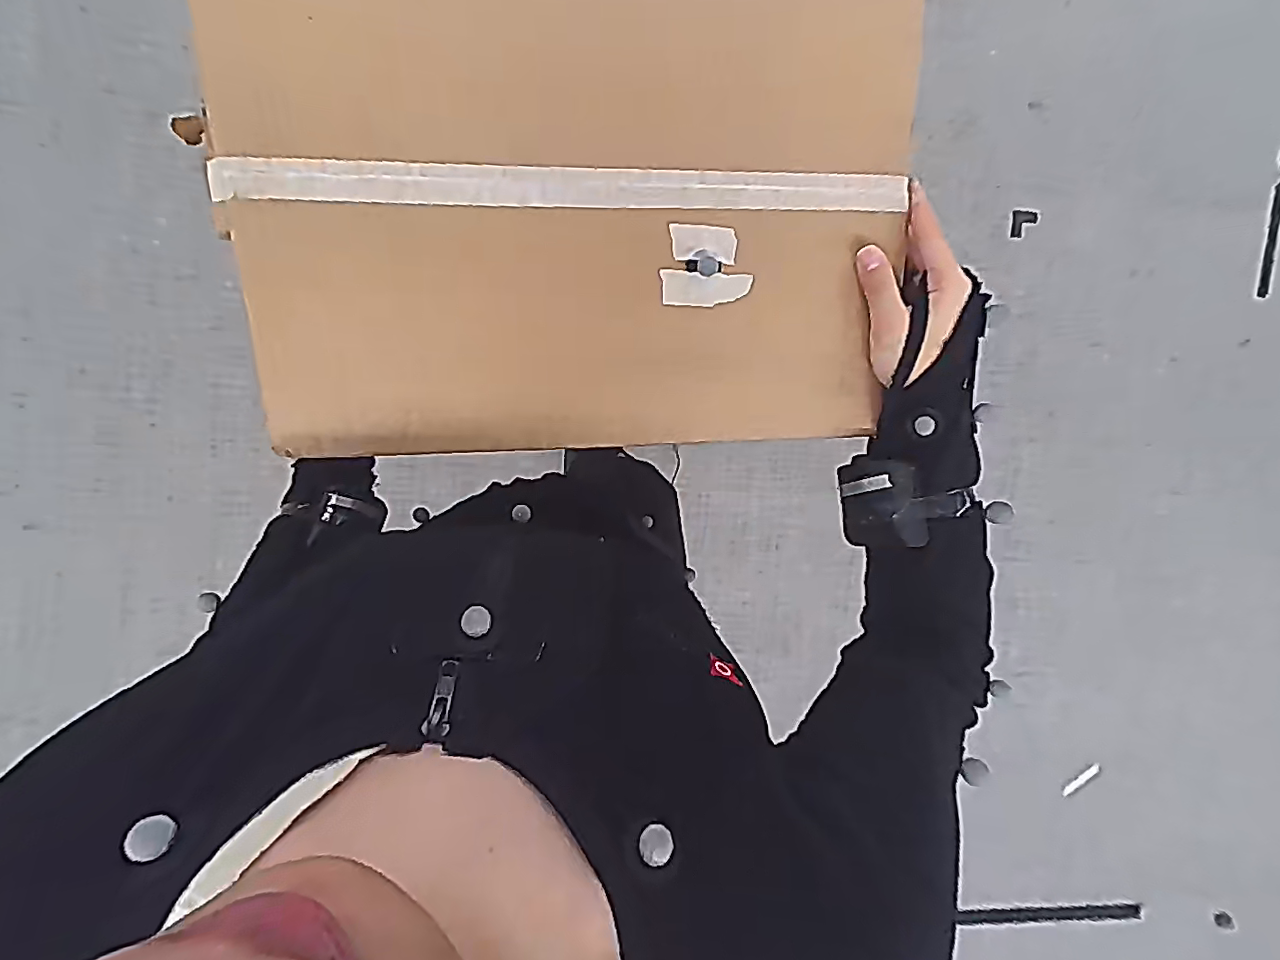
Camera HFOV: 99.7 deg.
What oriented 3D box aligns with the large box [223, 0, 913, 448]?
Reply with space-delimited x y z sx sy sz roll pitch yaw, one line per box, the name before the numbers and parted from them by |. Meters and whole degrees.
large box | -0.047 -0.216 0.476 0.408 0.320 0.320 -3 104 -9
